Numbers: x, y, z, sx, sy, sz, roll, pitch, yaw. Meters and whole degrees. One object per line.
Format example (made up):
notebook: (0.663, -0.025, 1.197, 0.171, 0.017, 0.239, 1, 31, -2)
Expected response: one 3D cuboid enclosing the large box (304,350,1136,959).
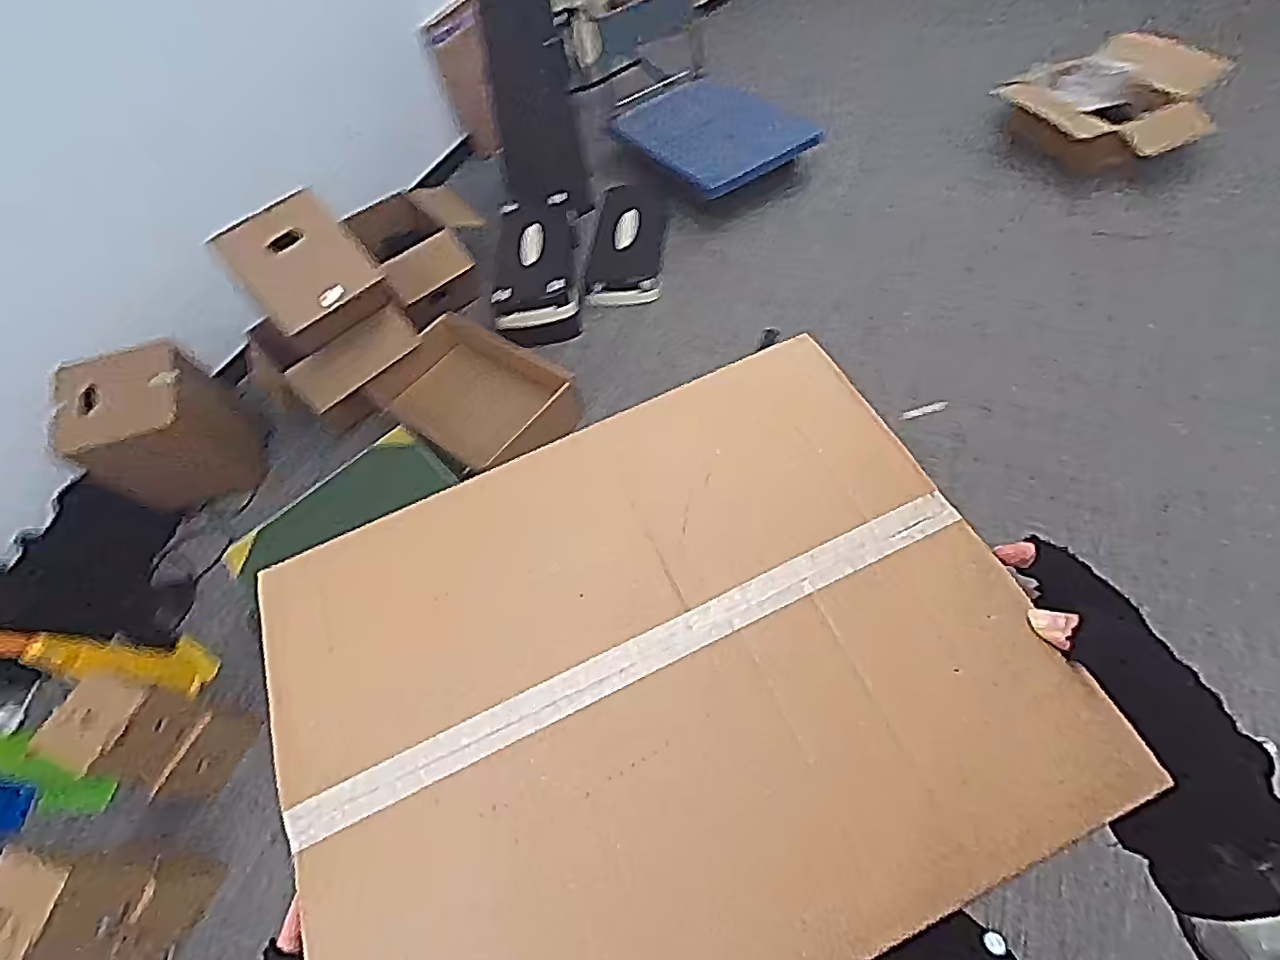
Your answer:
large box: (0.026, 0.171, 0.449, 0.408, 0.320, 0.320, -24, 64, -5)
